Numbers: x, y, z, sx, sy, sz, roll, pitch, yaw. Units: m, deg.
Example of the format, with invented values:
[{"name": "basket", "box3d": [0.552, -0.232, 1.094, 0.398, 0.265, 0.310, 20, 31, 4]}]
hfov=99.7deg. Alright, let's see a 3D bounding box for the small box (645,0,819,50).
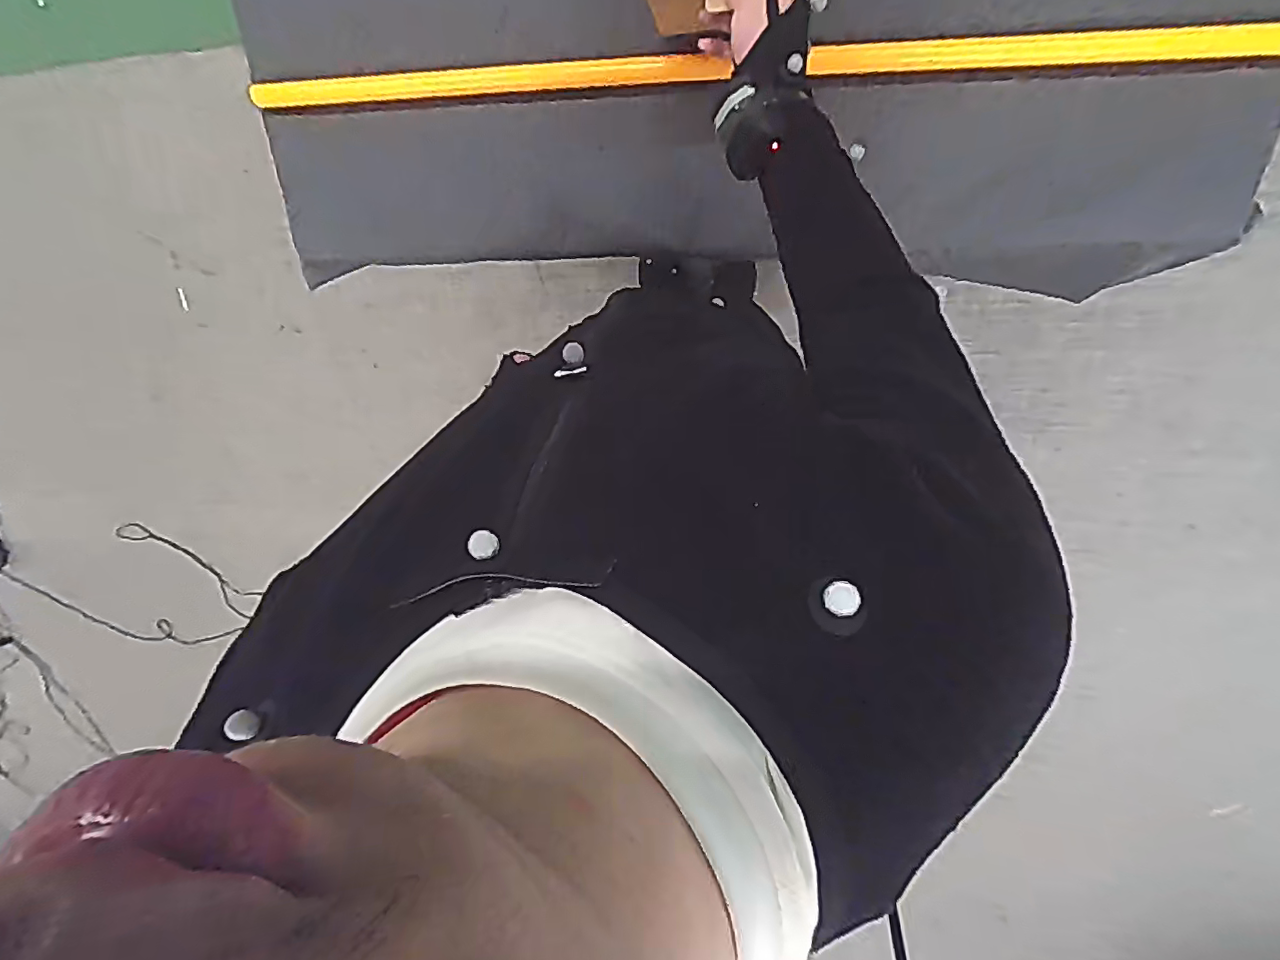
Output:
[{"name": "small box", "box3d": [0.090, -0.548, 0.516, 0.168, 0.176, 0.179, -3, 111, 14]}]
